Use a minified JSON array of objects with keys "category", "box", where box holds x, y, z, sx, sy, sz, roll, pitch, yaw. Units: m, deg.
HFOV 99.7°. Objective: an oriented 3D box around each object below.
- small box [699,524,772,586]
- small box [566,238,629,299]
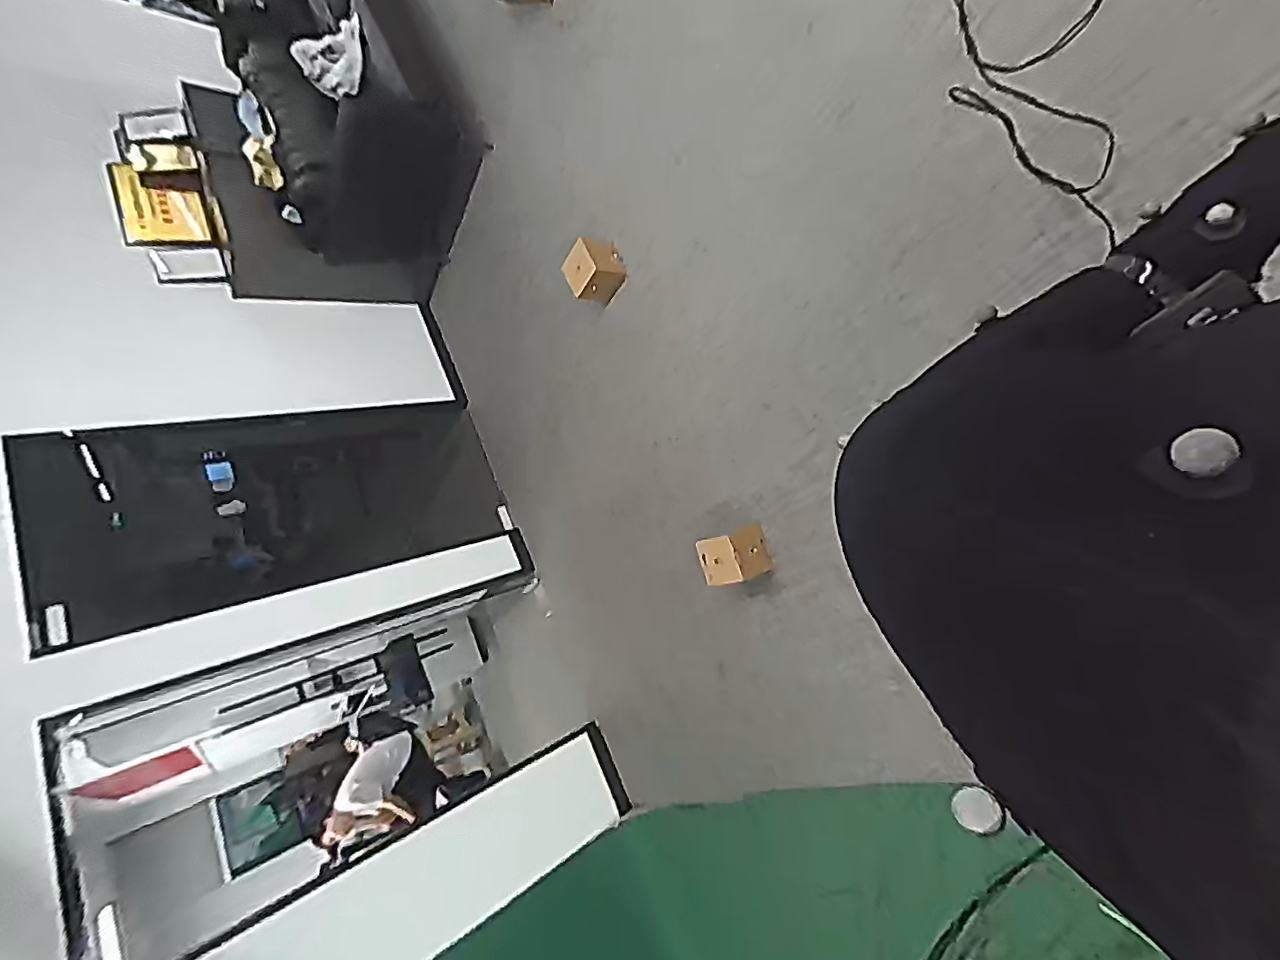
[{"category":"small box","box":[0.345,0.264,1.917,0.179,0.176,0.168,-23,82,50]},{"category":"small box","box":[-0.173,-0.866,2.234,0.179,0.176,0.168,-40,71,46]}]
